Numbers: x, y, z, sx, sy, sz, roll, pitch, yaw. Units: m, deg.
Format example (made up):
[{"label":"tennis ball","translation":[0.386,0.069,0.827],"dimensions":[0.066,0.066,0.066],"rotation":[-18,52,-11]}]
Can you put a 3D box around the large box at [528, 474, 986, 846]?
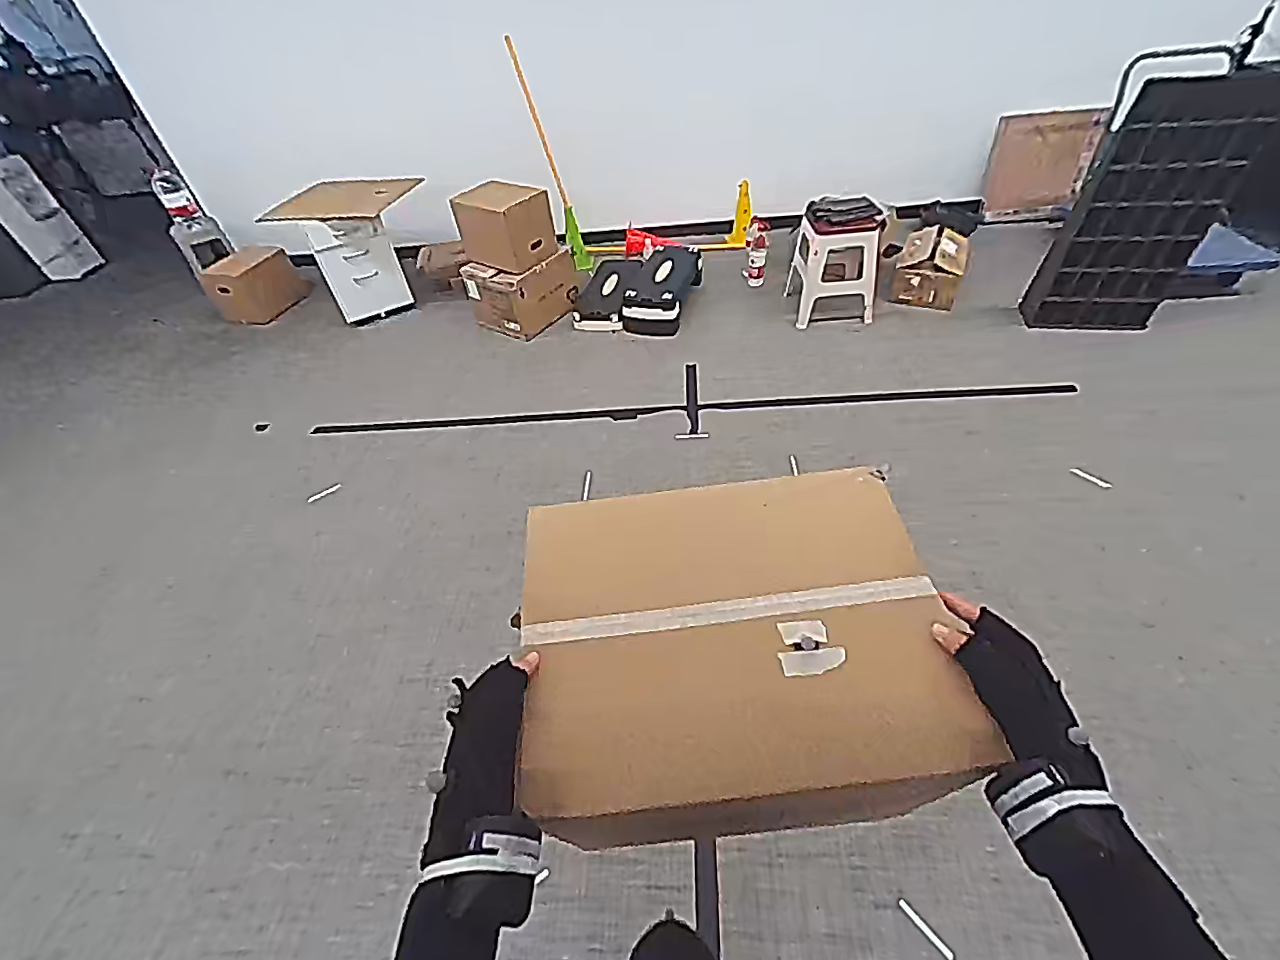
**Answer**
[{"label":"large box","translation":[0.095,0.229,0.665],"dimensions":[0.408,0.320,0.320],"rotation":[-7,52,0]}]
